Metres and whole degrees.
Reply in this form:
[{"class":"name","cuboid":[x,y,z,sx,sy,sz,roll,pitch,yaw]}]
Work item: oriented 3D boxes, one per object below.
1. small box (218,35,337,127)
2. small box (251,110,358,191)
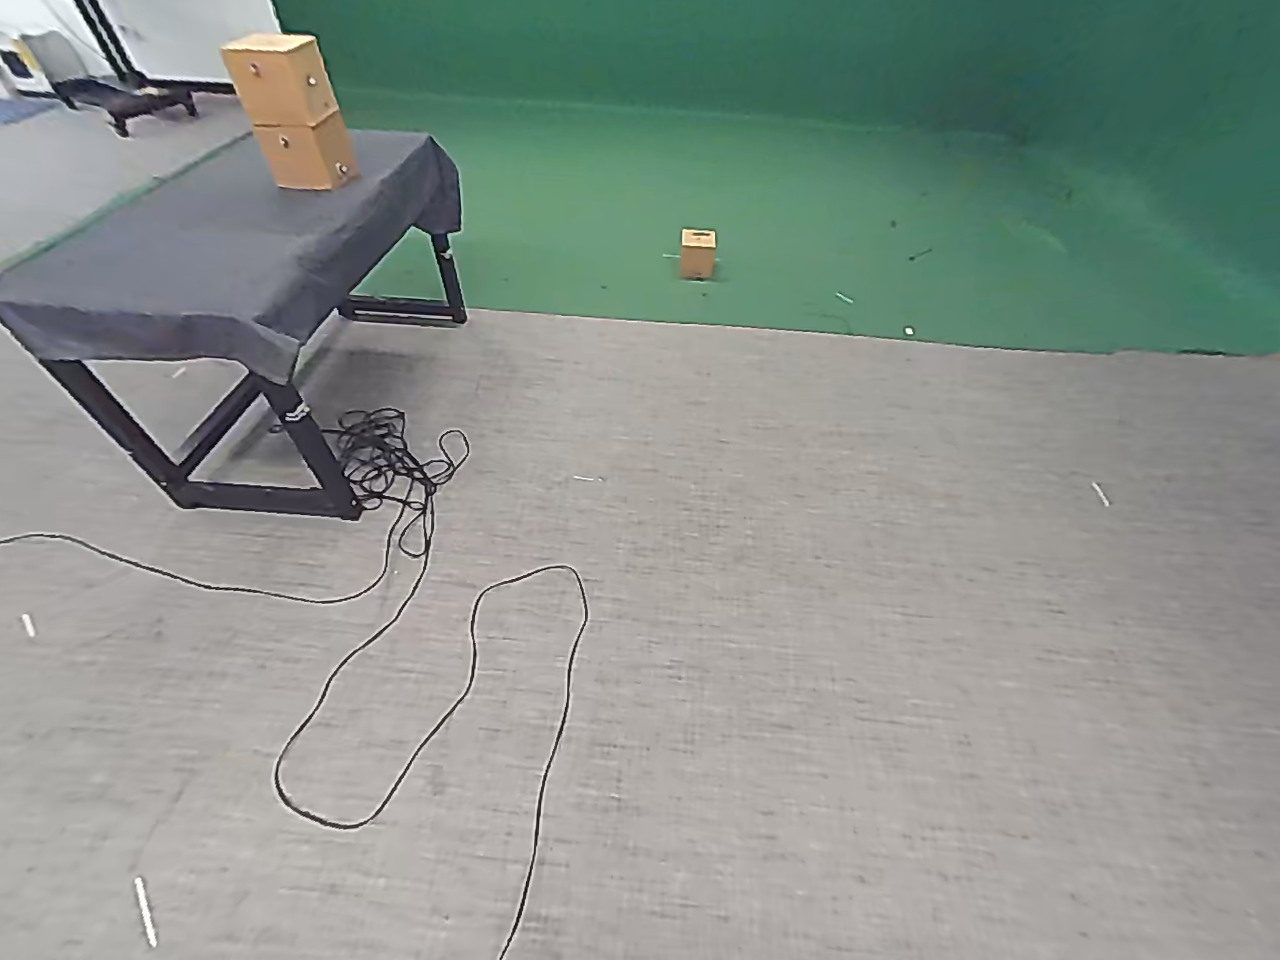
[{"class":"small box","cuboid":[-0.953,-1.063,1.446,0.179,0.176,0.168,3,50,3]},{"class":"small box","cuboid":[-0.964,-0.960,1.571,0.179,0.176,0.168,5,50,2]}]
